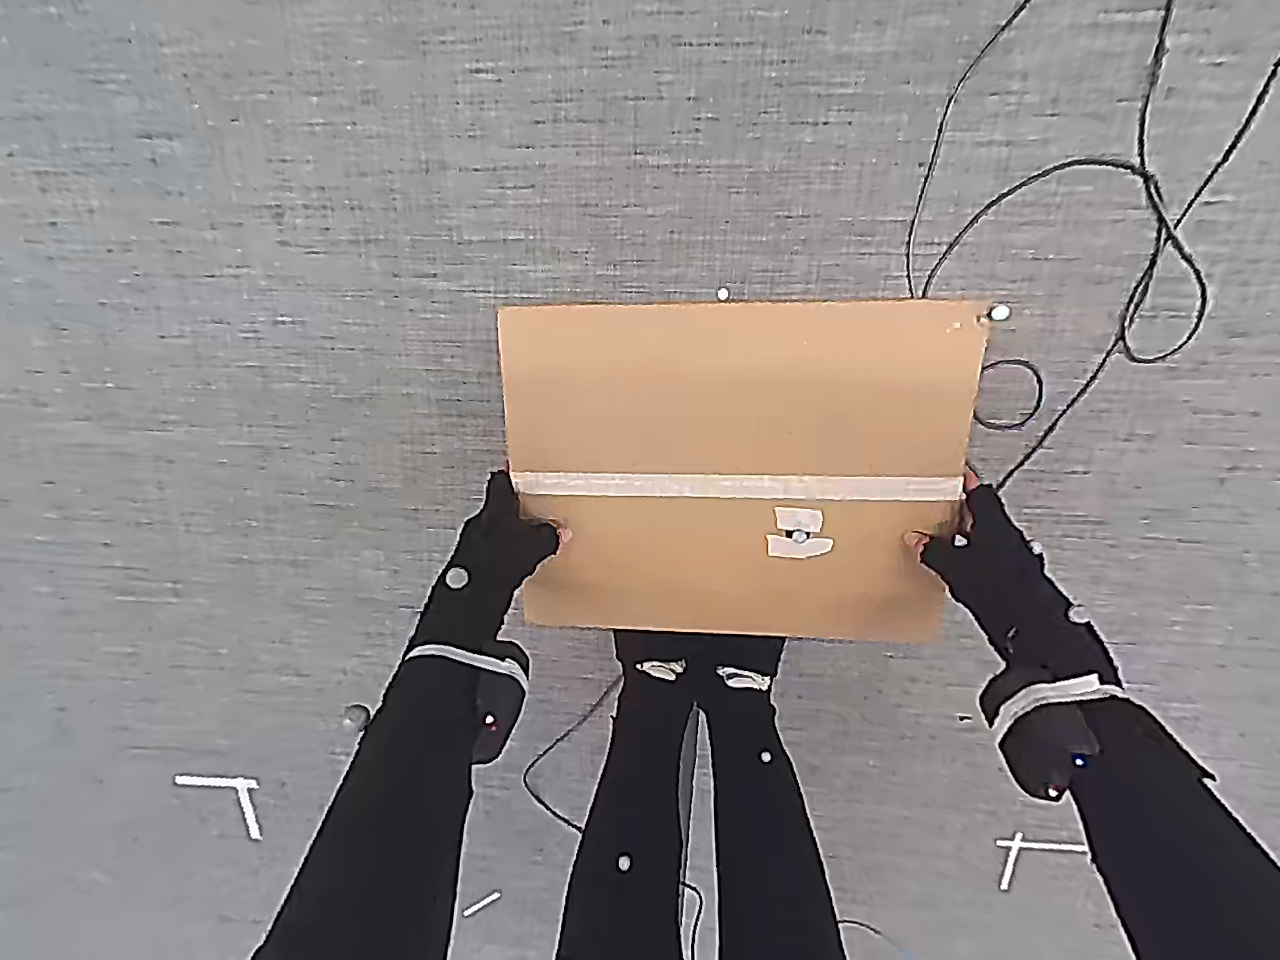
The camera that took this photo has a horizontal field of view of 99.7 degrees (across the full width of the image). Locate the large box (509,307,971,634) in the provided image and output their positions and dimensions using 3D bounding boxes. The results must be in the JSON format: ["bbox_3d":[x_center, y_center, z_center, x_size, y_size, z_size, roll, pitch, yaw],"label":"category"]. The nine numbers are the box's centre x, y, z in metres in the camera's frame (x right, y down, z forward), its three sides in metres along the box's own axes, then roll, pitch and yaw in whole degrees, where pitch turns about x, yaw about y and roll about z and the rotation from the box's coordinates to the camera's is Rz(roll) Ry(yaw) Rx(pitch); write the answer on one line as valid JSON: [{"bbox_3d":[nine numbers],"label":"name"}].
[{"bbox_3d":[0.095,-0.035,0.650,0.408,0.320,0.320,0,107,6],"label":"large box"}]
